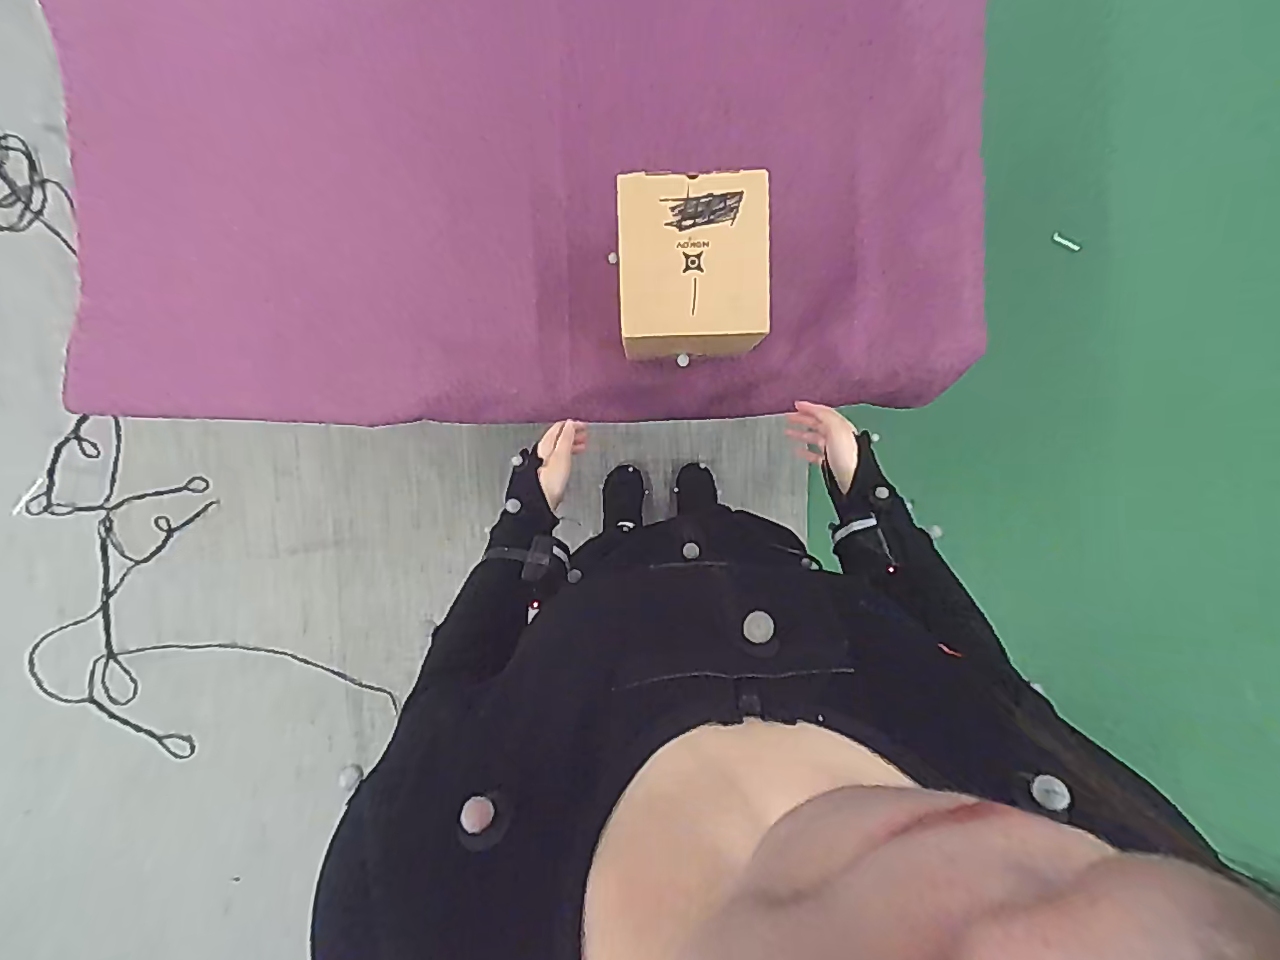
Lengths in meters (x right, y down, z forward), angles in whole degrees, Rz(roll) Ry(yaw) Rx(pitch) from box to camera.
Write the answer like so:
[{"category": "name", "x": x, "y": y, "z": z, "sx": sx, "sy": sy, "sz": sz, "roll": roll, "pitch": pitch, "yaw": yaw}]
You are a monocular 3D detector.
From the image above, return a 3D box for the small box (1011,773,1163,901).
[{"category": "small box", "x": 0.926, "y": 0.740, "z": 1.132, "sx": 0.179, "sy": 0.176, "sz": 0.168, "roll": 0, "pitch": 95, "yaw": 1}]

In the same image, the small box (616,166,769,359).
[{"category": "small box", "x": 0.057, "y": -0.250, "z": 0.657, "sx": 0.168, "sy": 0.176, "sz": 0.179, "roll": -1, "pitch": 95, "yaw": 2}]
